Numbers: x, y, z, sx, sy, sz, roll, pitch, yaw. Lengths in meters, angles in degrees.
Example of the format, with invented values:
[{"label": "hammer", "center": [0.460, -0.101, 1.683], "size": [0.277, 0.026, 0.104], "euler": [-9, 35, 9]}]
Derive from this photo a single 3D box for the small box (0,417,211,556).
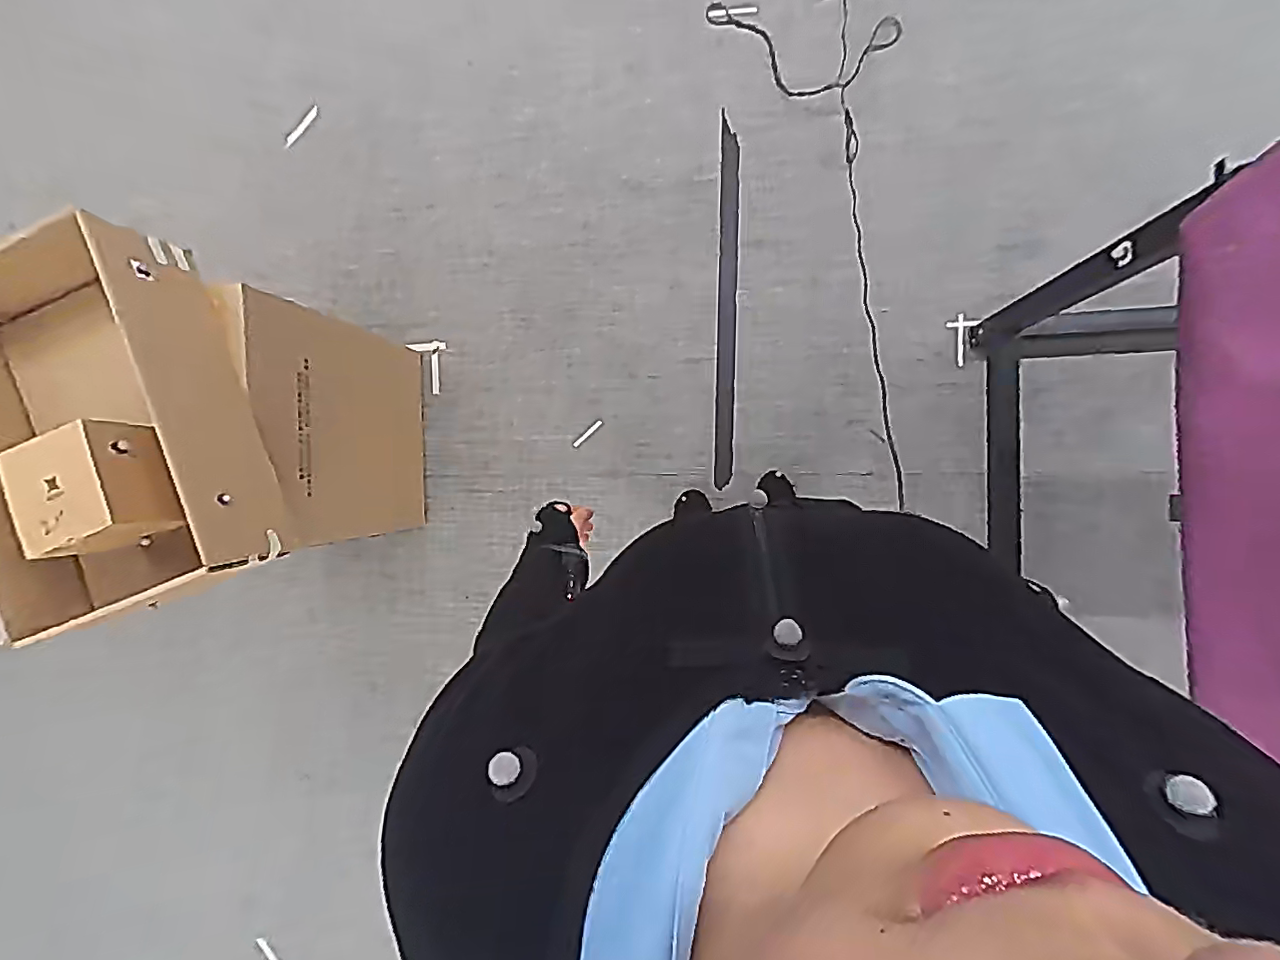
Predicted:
[{"label": "small box", "center": [-0.879, 0.012, 0.905], "size": [0.168, 0.176, 0.179], "euler": [-20, 88, 7]}]
